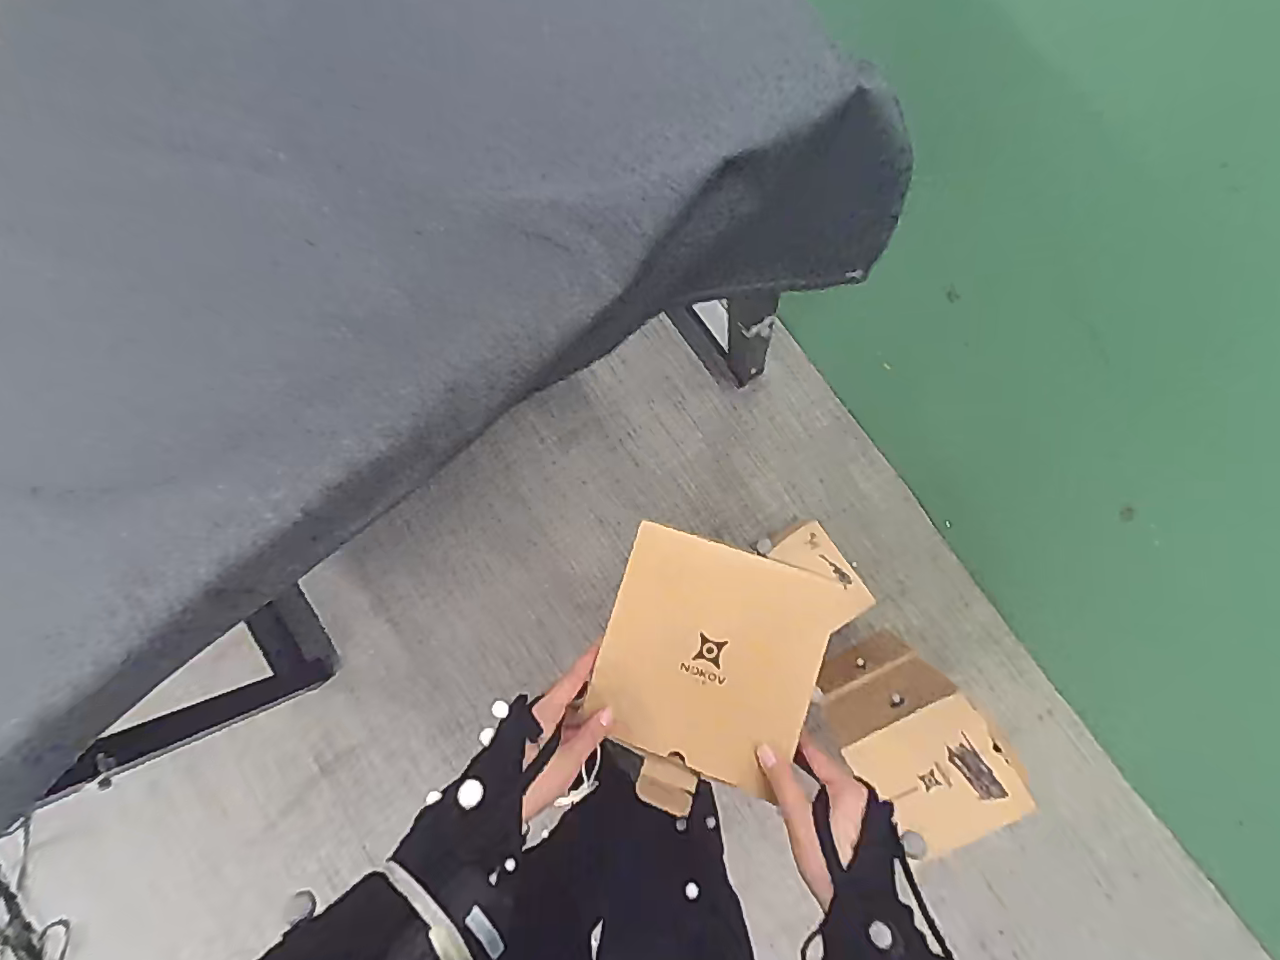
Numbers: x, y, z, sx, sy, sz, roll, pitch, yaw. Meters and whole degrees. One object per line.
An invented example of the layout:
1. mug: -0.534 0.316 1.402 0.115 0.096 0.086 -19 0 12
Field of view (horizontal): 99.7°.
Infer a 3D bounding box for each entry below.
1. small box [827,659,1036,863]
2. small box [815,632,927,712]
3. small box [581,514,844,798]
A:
1. small box: 0.391 0.379 0.764 0.179 0.176 0.168 -31 81 7
2. small box: 0.416 0.382 0.927 0.179 0.176 0.168 -31 81 8
3. small box: 0.065 0.139 0.496 0.168 0.176 0.179 17 87 10
